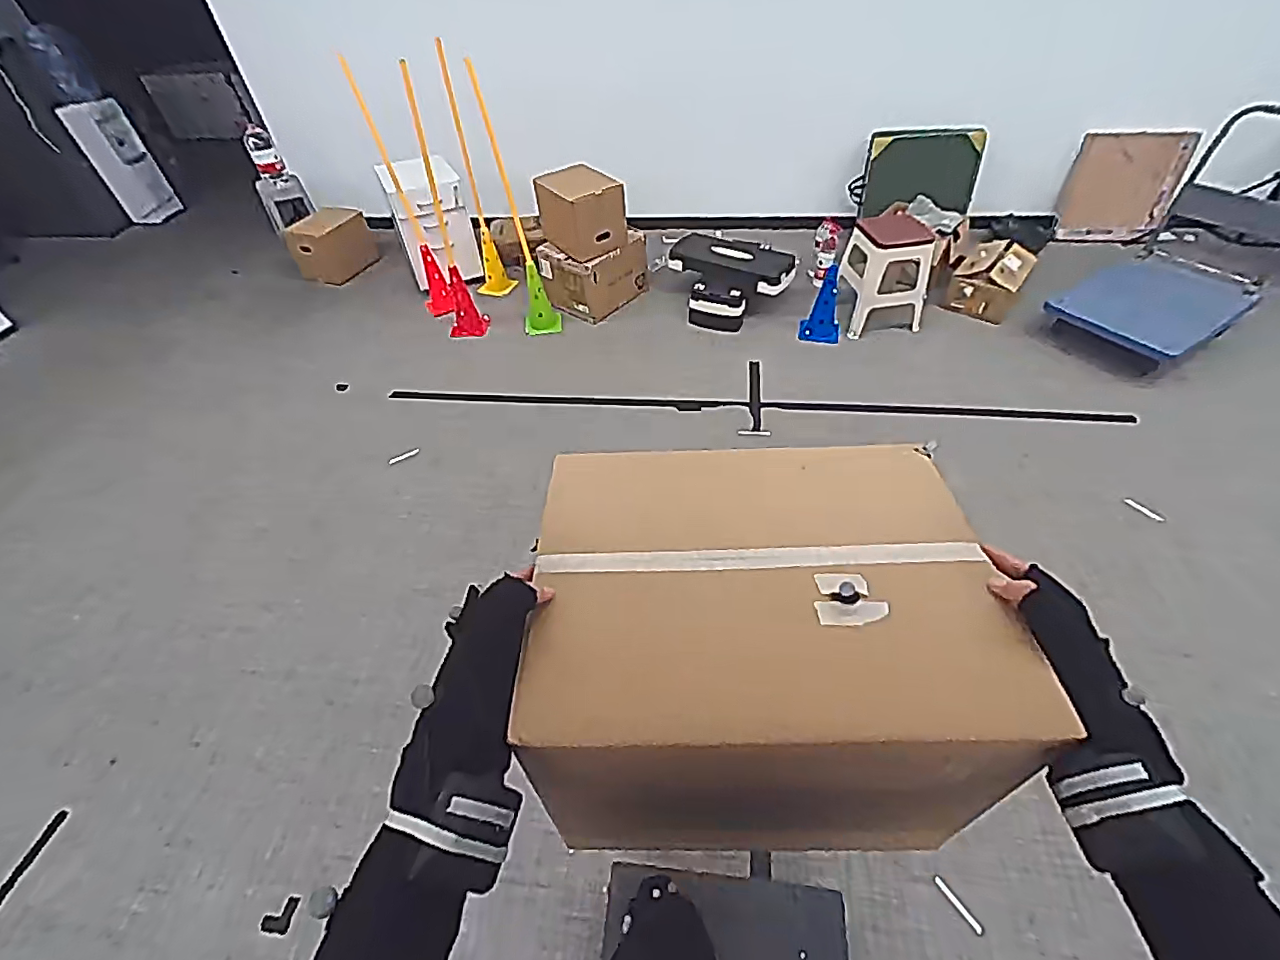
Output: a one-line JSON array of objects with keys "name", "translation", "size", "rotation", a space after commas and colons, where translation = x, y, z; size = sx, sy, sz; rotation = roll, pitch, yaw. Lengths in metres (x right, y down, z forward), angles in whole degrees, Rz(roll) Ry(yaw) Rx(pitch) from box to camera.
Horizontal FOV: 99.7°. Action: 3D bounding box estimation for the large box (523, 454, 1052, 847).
[{"name": "large box", "translation": [0.111, 0.190, 0.609], "size": [0.408, 0.320, 0.320], "rotation": [-2, 44, 2]}]
